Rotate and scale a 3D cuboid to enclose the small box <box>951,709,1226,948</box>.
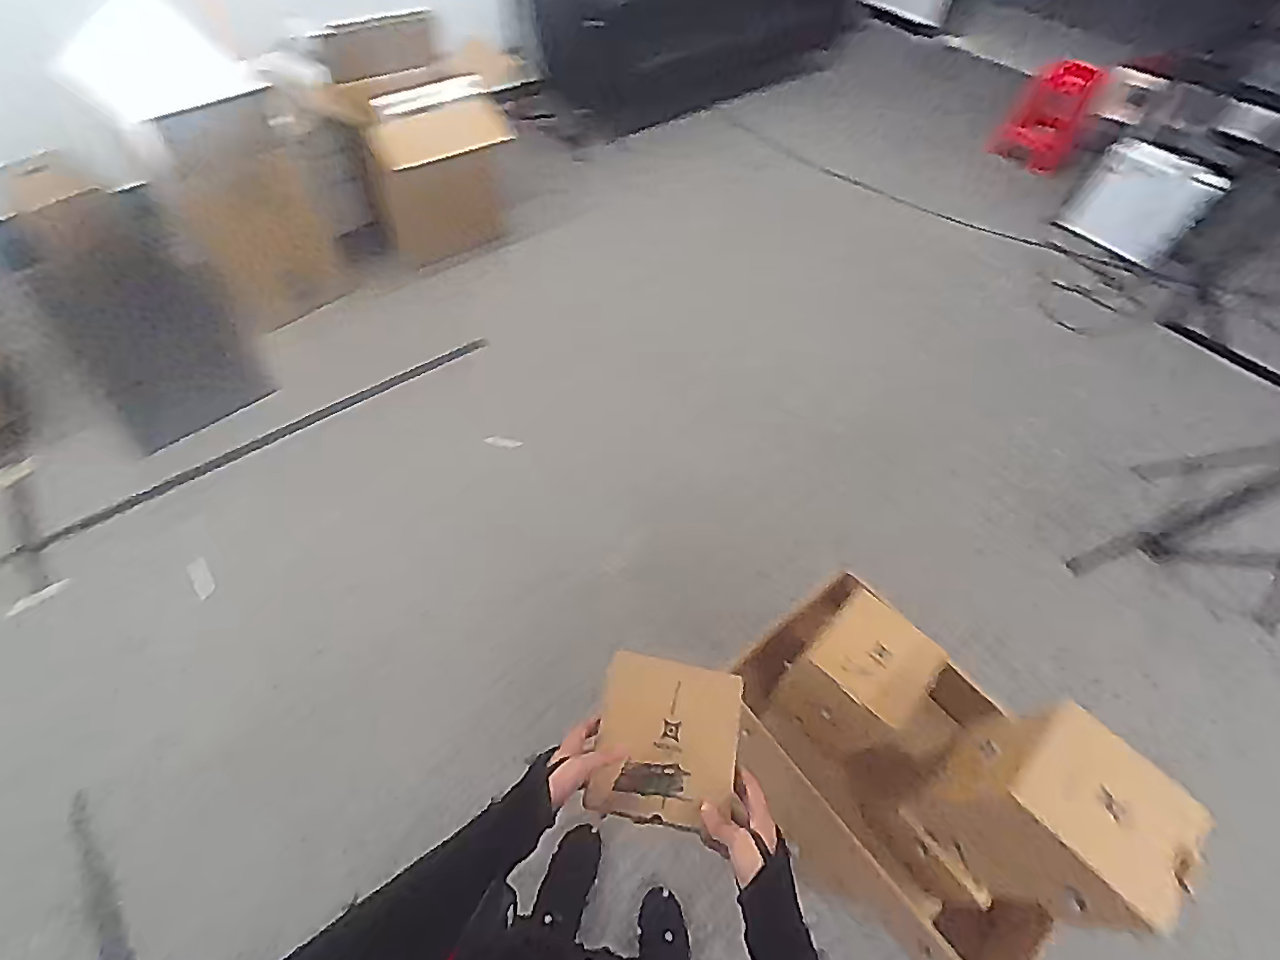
[{"bbox_3d":[0.546,0.428,0.683,0.168,0.176,0.179,-34,63,-24],"label":"small box"}]

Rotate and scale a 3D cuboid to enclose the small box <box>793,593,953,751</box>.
[{"bbox_3d":[0.393,0.336,0.942,0.179,0.176,0.168,-39,65,-25],"label":"small box"}]

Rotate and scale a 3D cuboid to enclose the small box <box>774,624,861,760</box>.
[{"bbox_3d":[0.392,0.423,1.081,0.168,0.176,0.179,39,62,23],"label":"small box"}]

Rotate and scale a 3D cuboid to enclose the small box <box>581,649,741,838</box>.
[{"bbox_3d":[0.023,0.339,0.702,0.168,0.176,0.179,13,60,-1],"label":"small box"}]
